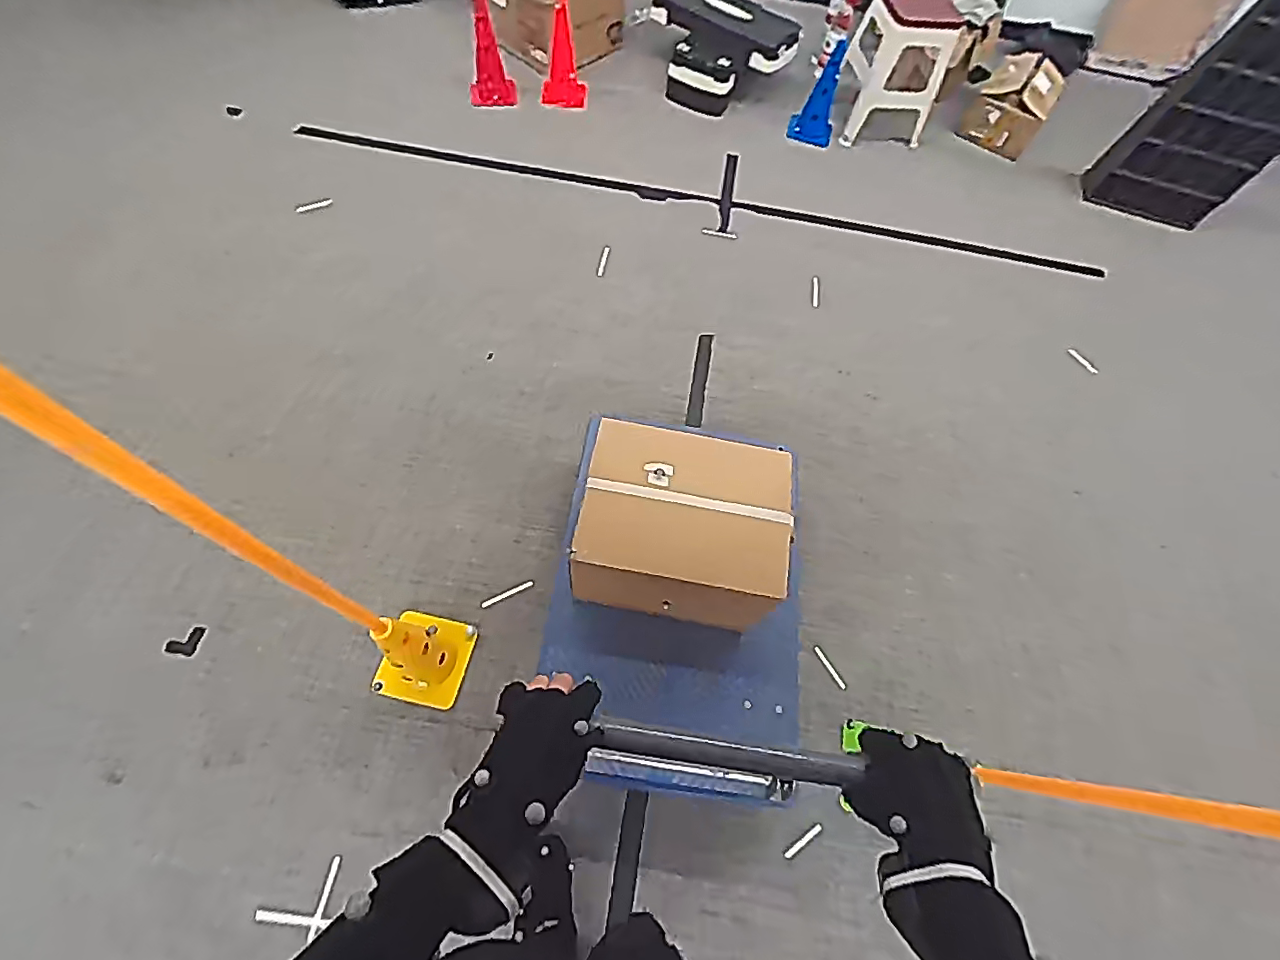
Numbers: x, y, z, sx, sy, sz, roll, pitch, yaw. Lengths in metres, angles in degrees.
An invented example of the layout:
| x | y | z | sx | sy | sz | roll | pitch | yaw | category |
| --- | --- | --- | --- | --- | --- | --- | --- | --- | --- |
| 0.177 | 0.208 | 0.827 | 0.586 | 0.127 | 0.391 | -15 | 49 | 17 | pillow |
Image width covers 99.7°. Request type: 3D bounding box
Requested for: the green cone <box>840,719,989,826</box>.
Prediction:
| x | y | z | sx | sy | sz | roll | pitch | yaw | category |
| --- | --- | --- | --- | --- | --- | --- | --- | --- | --- |
| 0.599 | 0.624 | 1.151 | 0.202 | 0.368 | 0.200 | 14 | 62 | 1 | green cone |

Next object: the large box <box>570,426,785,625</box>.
| x | y | z | sx | sy | sz | roll | pitch | yaw | category |
| --- | --- | --- | --- | --- | --- | --- | --- | --- | --- |
| 0.079 | 0.116 | 1.198 | 0.408 | 0.320 | 0.320 | 10 | 63 | 1 | large box |
